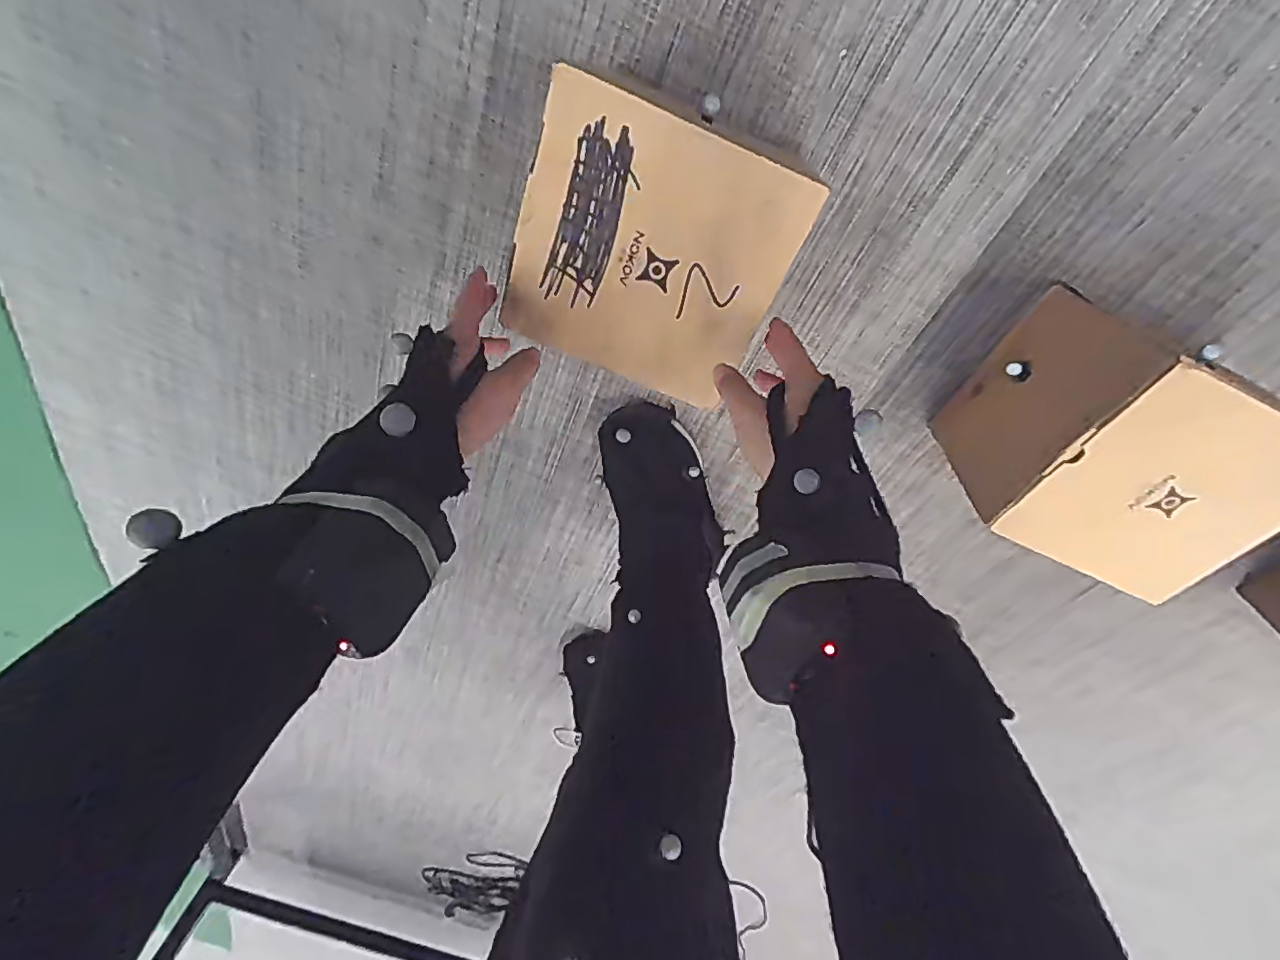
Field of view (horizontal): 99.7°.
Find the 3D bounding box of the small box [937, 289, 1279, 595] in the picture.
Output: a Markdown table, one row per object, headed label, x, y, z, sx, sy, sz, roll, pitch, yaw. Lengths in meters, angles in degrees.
| label | x | y | z | sx | sy | sz | roll | pitch | yaw |
| --- | --- | --- | --- | --- | --- | --- | --- | --- | --- |
| small box | 0.400 | -0.039 | 0.465 | 0.179 | 0.176 | 0.168 | 24 | 127 | -6 |
